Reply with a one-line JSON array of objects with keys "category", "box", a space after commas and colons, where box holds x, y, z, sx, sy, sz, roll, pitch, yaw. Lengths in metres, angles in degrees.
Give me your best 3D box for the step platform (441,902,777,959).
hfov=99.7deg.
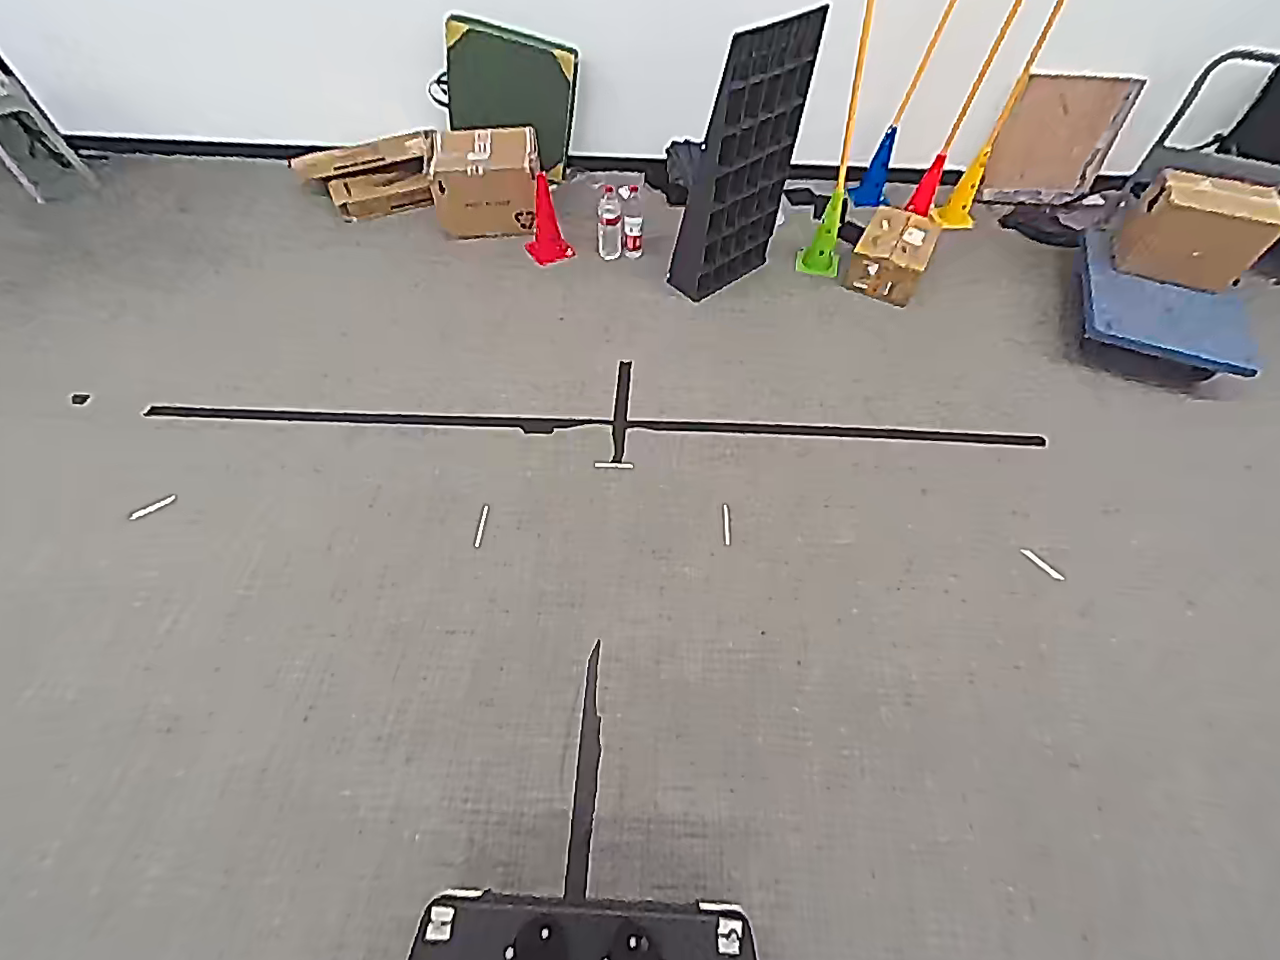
[{"category": "step platform", "box": [-0.062, 1.034, 1.036, 0.684, 0.204, 0.286, 7, 54, 2]}]
